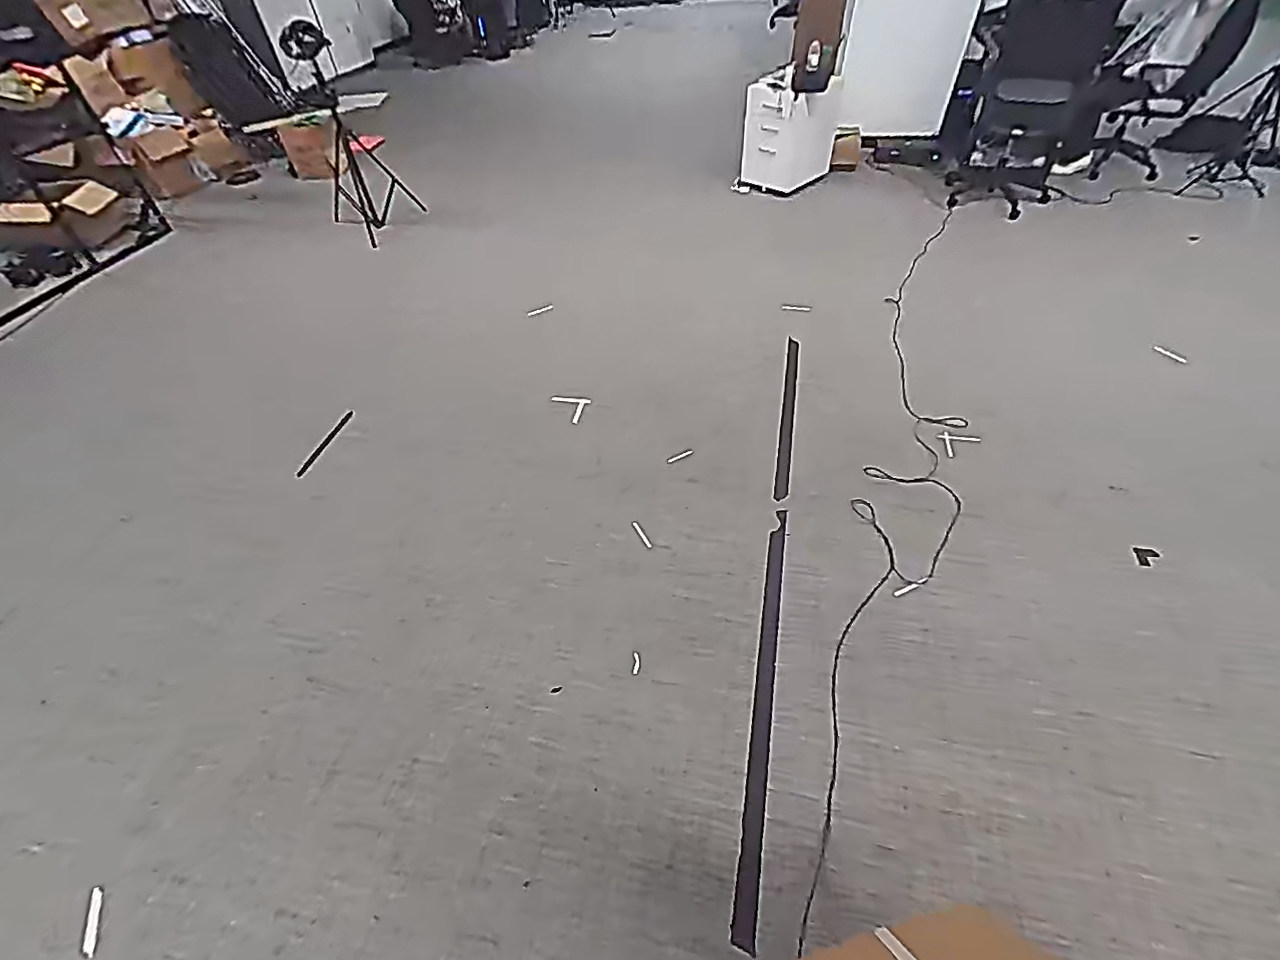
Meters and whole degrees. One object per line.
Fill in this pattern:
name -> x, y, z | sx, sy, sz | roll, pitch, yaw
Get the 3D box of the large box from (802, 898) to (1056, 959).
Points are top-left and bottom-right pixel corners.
large box -> 0.423, 0.776, 0.601 | 0.320, 0.408, 0.320 | -15, 76, -8
